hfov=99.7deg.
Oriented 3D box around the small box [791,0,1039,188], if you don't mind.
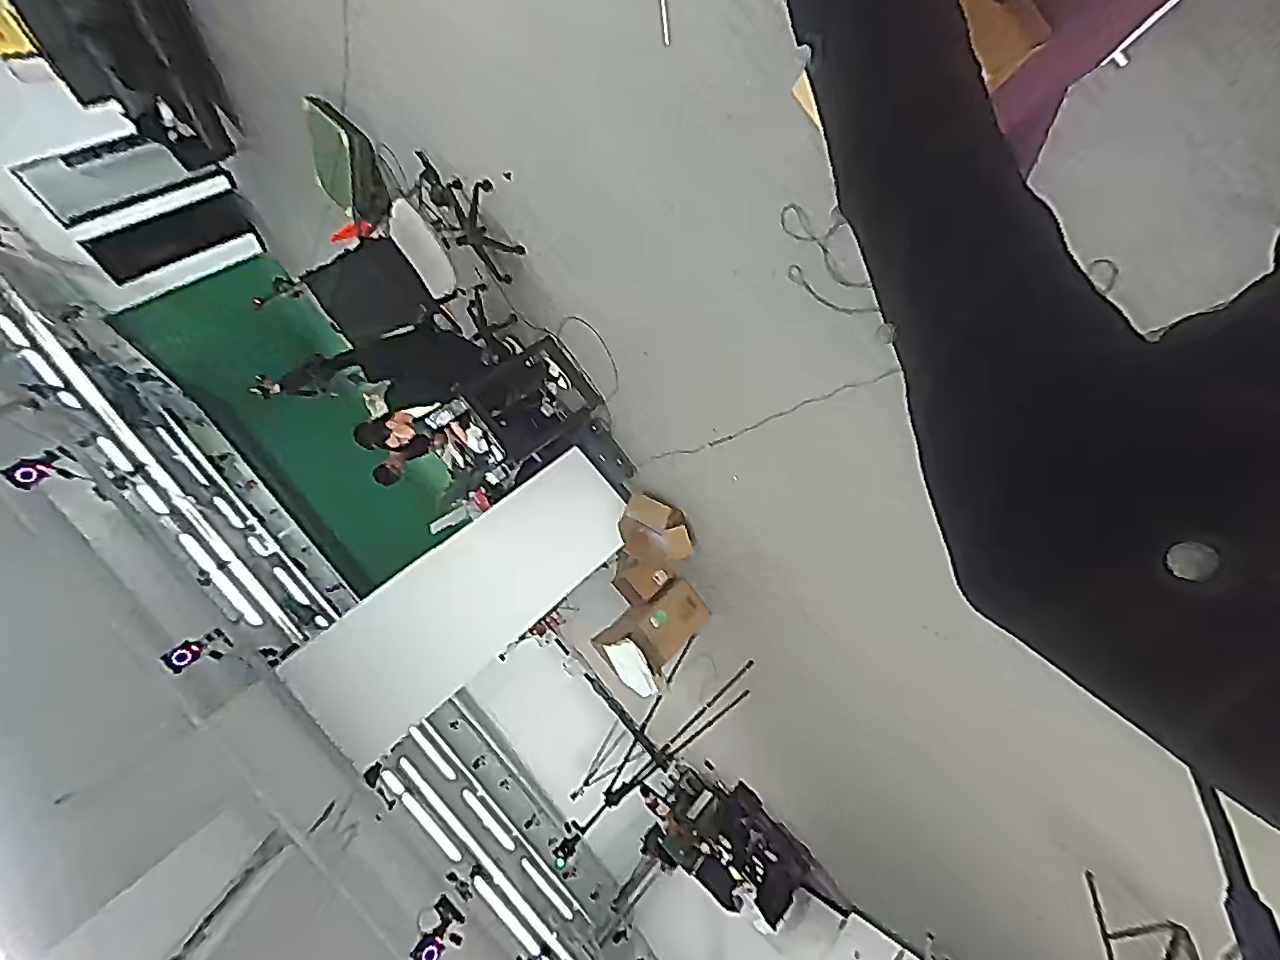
[{"bbox_3d":[0.330,-0.507,0.659,0.168,0.176,0.179,52,155,-3],"label":"small box"}]
